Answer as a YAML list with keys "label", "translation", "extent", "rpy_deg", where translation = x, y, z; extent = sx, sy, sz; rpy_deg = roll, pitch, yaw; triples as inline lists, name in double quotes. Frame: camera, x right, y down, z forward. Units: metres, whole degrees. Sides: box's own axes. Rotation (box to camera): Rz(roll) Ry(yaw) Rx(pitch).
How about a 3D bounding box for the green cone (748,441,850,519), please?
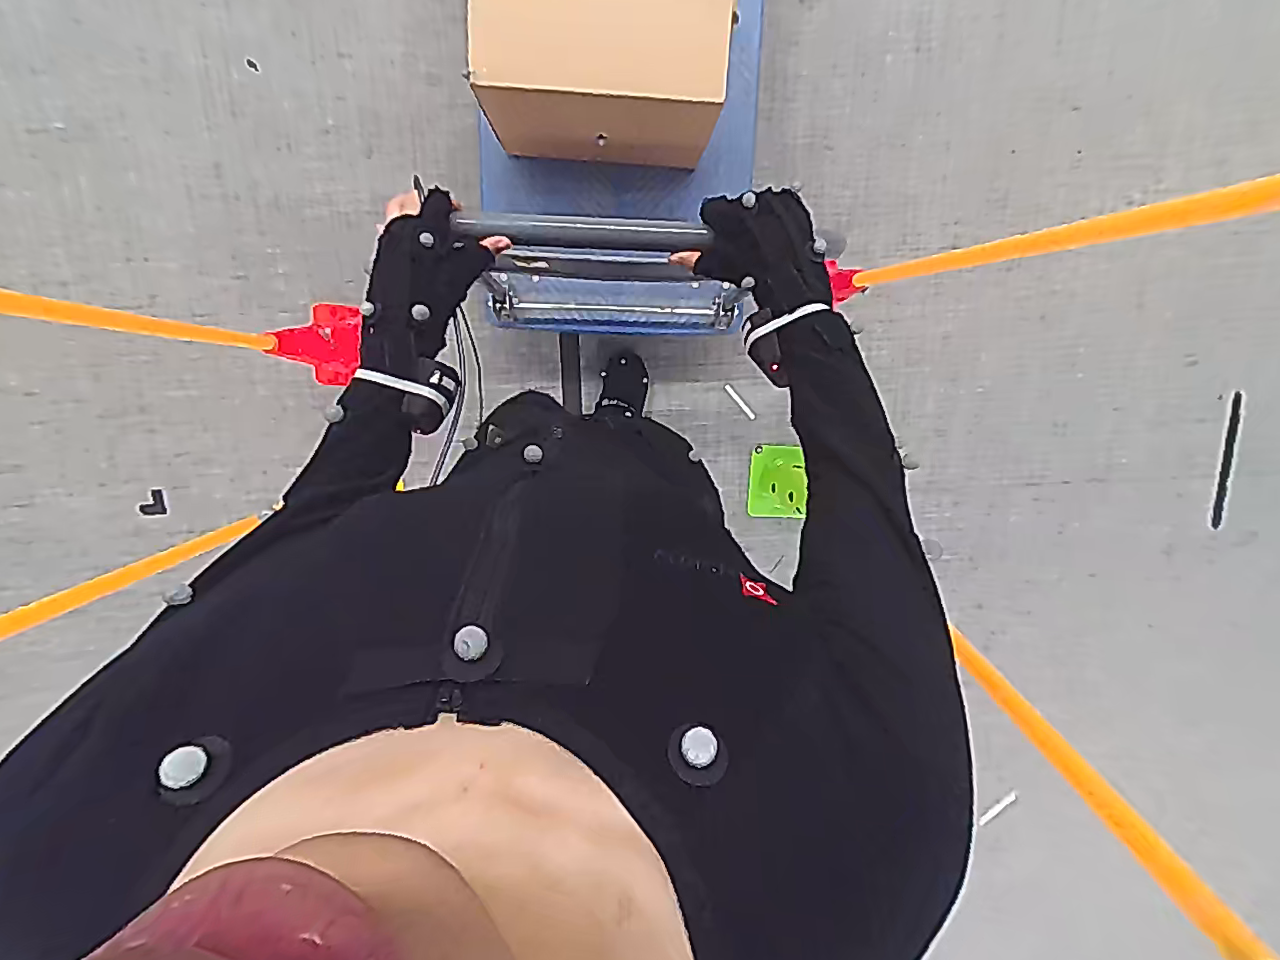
- label: "green cone"
  translation: [0.410, 0.030, 1.317]
  extent: [0.202, 0.368, 0.200]
  rpy_deg: [1, 103, -4]

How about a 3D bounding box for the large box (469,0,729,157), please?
- label: "large box"
  translation: [-0.063, -0.798, 0.962]
  extent: [0.408, 0.320, 0.320]
  rpy_deg: [2, 103, -3]

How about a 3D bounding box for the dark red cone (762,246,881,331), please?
- label: "dark red cone"
  translation: [0.415, -0.439, 1.194]
  extent: [0.201, 0.394, 0.202]
  rpy_deg: [-3, 103, -4]

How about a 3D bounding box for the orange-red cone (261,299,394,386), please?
- label: "orange-red cone"
  translation: [-0.712, -0.311, 1.195]
  extent: [0.198, 0.360, 0.199]
  rpy_deg: [5, 101, -5]
